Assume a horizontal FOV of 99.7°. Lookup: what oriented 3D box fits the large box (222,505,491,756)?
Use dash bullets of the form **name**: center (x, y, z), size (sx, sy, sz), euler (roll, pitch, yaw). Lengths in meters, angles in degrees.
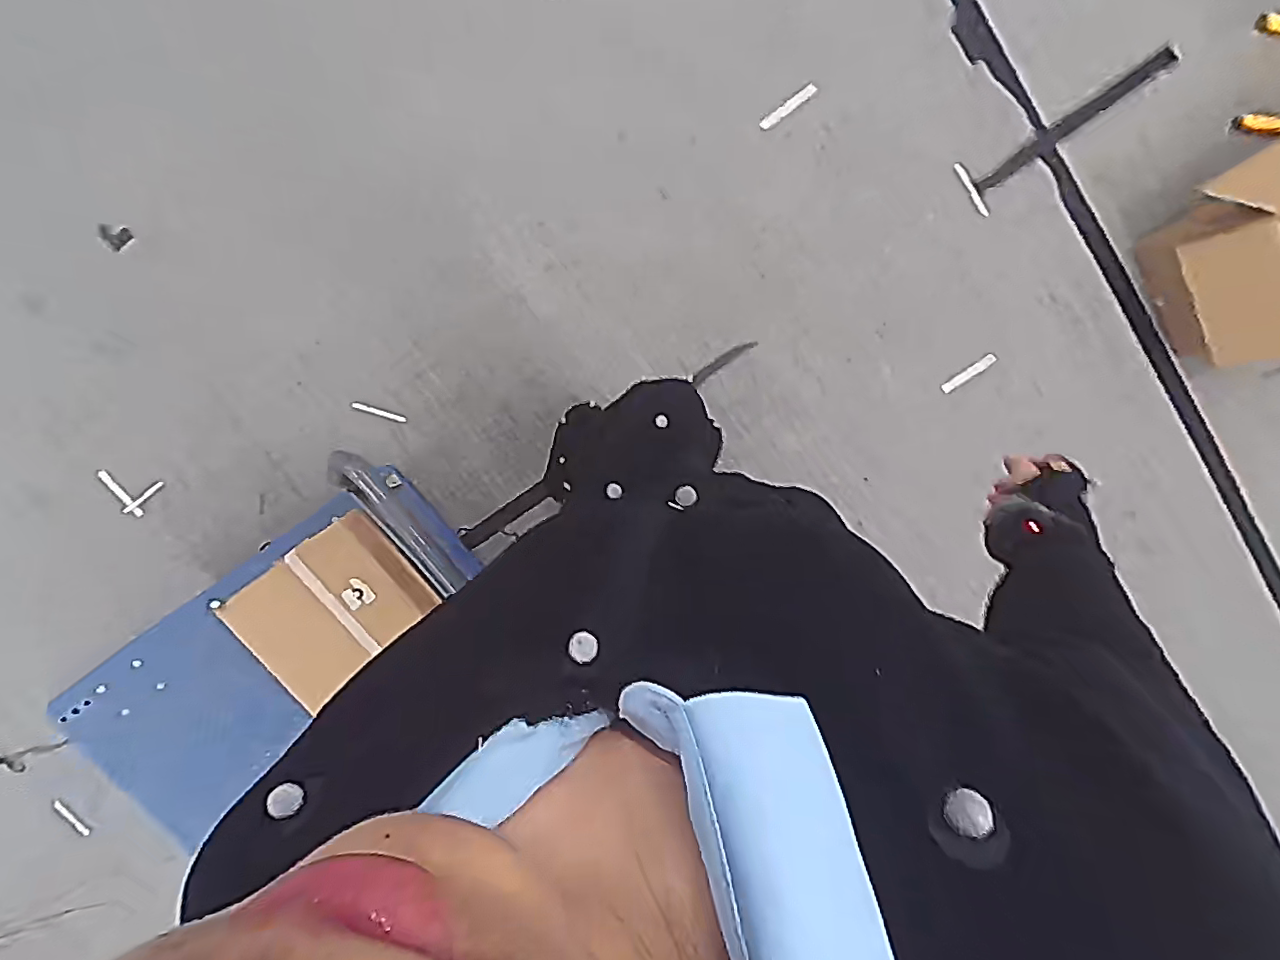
- **large box**: center (-0.580, 0.302, 1.205), size (0.320, 0.320, 0.408), euler (-40, 98, -15)
